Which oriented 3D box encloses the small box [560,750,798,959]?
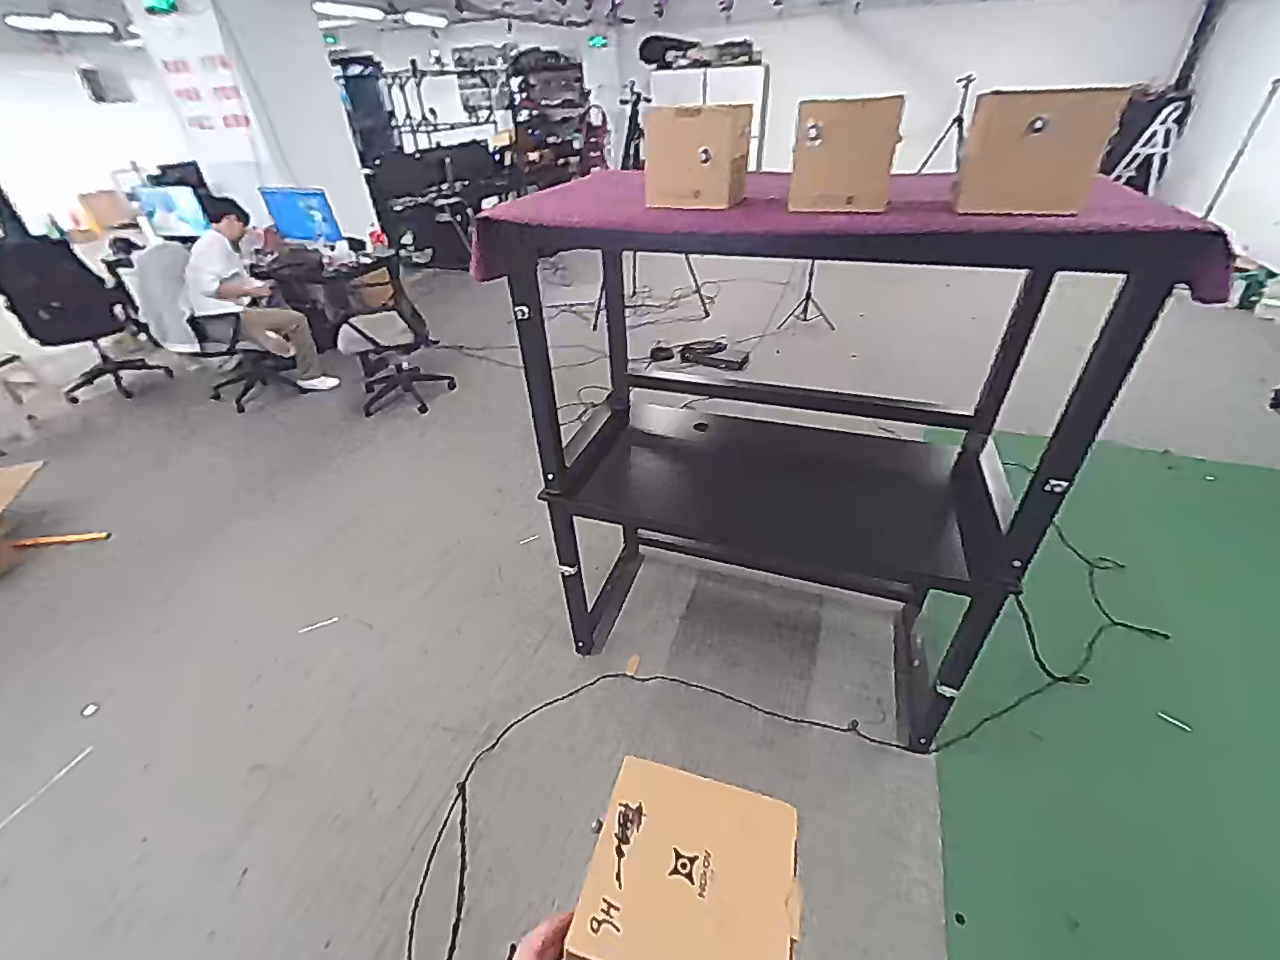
[{"bbox_3d":[0.037,0.398,0.506,0.179,0.176,0.168,12,32,12],"label":"small box"}]

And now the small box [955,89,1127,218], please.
[{"bbox_3d":[0.640,-0.535,0.894,0.179,0.176,0.168,11,36,18],"label":"small box"}]

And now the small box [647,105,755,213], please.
[{"bbox_3d":[0.122,-0.629,1.060,0.168,0.176,0.179,12,36,18],"label":"small box"}]
